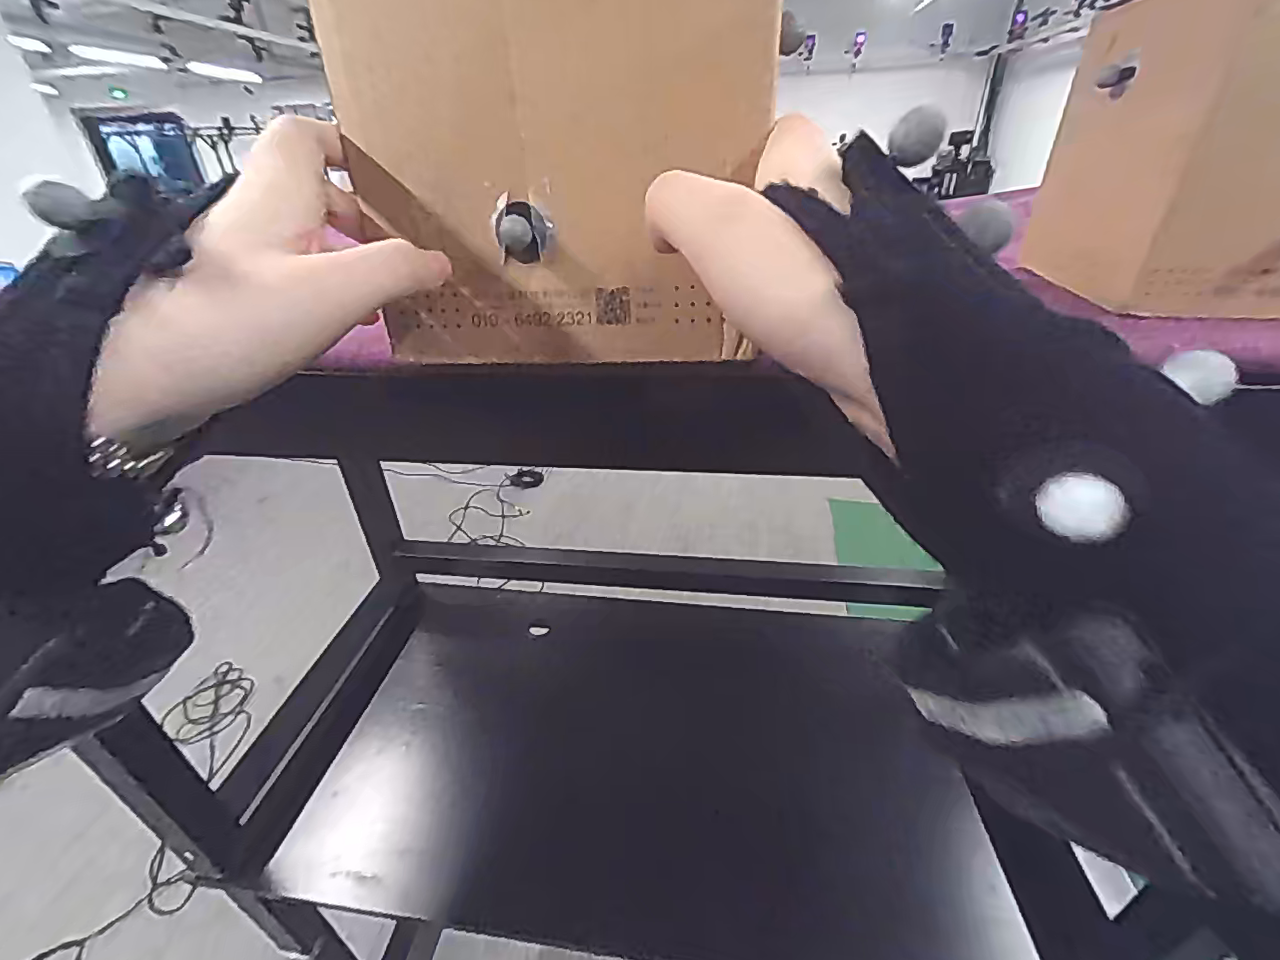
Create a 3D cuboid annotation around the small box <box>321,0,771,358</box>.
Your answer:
[{"bbox_3d":[-0.027,-0.165,0.270,0.168,0.176,0.179,1,28,8],"label":"small box"}]

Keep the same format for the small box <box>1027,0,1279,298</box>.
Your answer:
[{"bbox_3d":[0.371,-0.212,0.323,0.168,0.176,0.179,4,33,13],"label":"small box"}]
